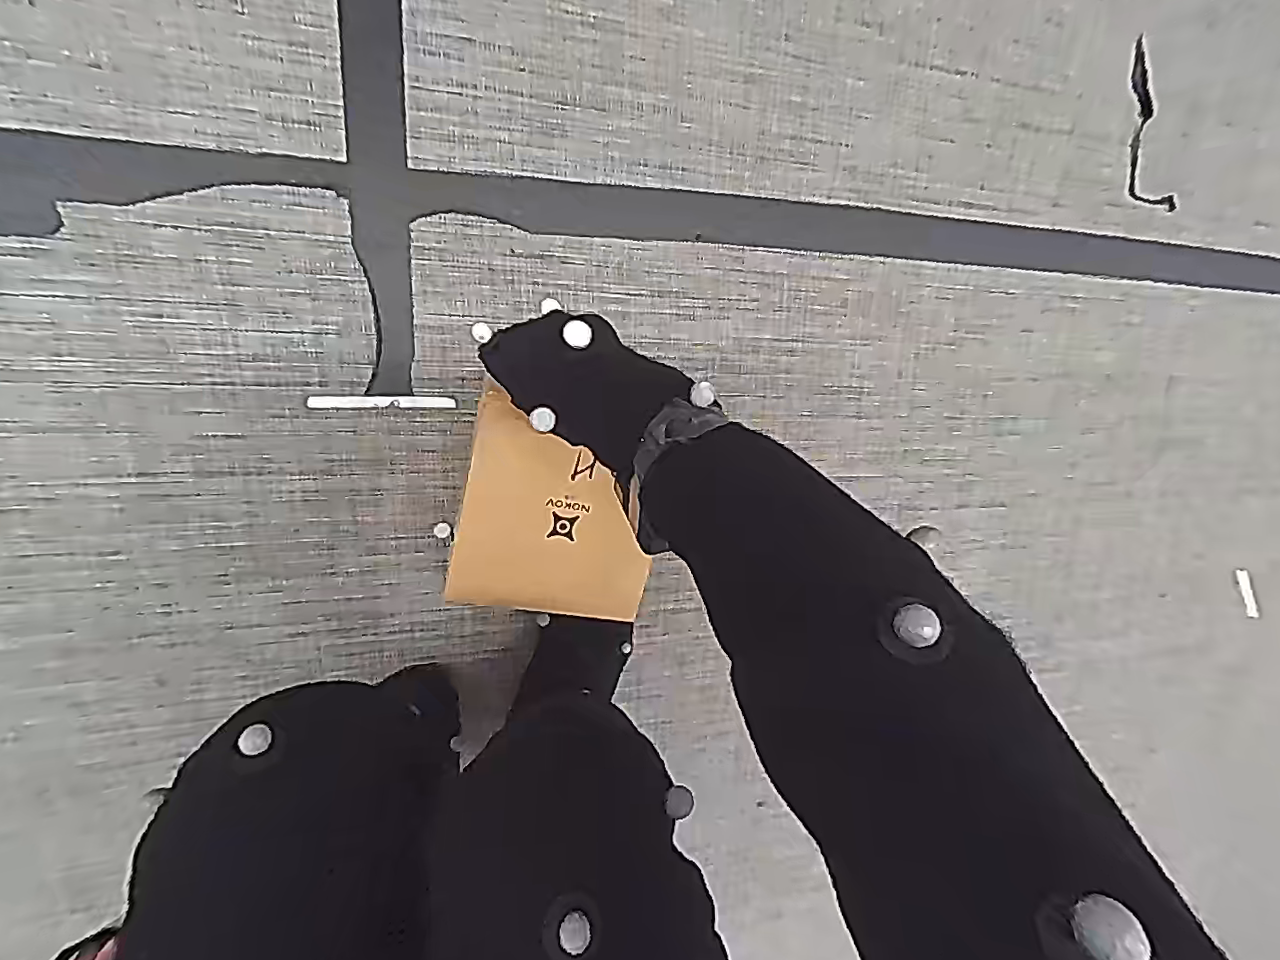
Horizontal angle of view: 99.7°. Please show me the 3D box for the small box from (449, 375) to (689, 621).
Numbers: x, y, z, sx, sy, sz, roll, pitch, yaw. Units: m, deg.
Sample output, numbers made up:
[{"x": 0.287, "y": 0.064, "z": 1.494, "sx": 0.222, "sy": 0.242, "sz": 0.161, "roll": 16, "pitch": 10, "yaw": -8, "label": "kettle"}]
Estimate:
[{"x": -0.076, "y": 0.008, "z": 0.514, "sx": 0.168, "sy": 0.176, "sz": 0.179, "roll": 11, "pitch": 102, "yaw": -18, "label": "small box"}]
